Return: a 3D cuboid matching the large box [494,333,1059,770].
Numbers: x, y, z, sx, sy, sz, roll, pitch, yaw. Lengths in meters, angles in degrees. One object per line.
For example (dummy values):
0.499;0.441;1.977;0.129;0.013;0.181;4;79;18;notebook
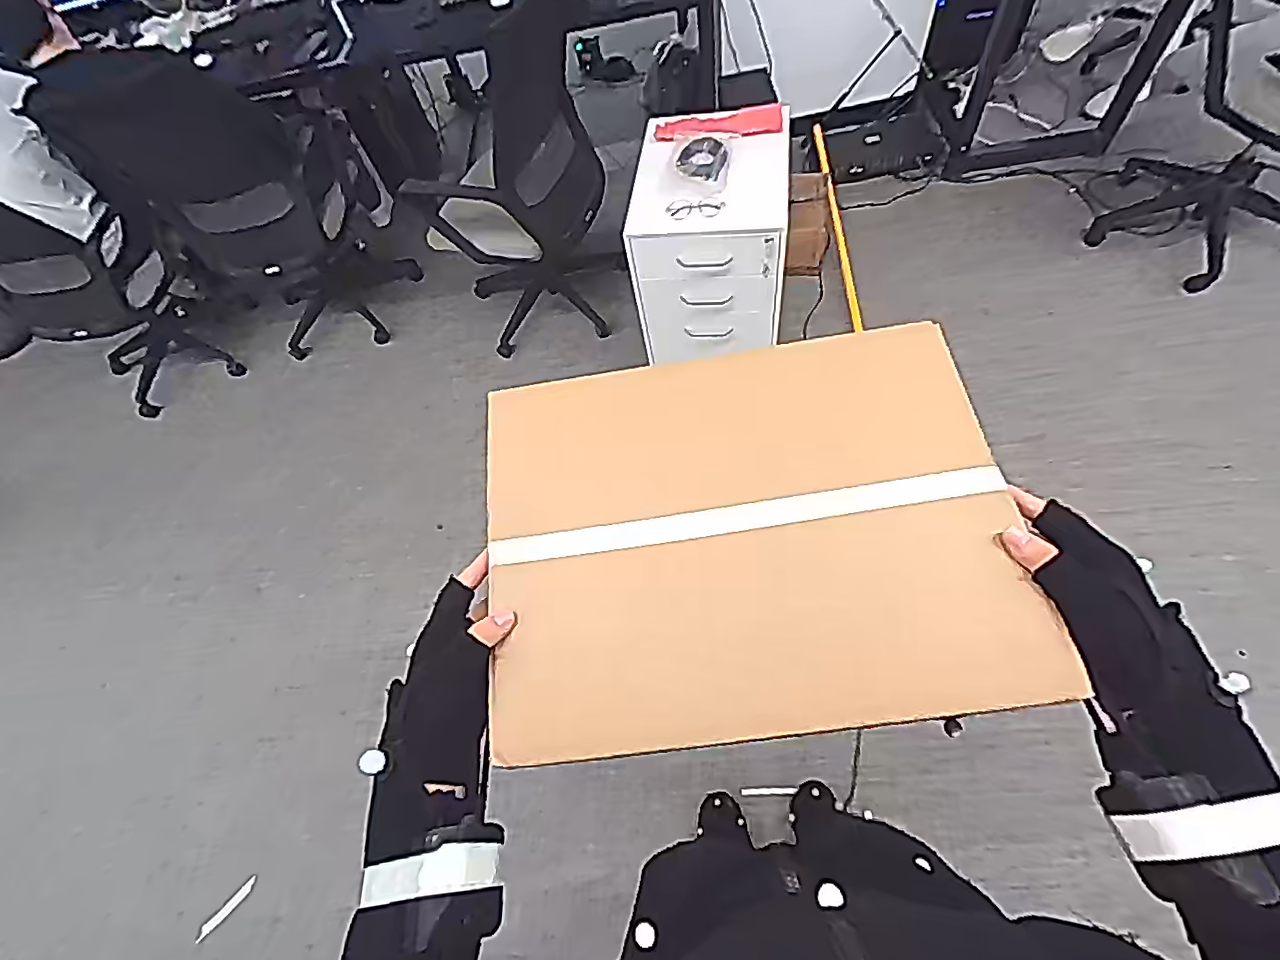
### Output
0.096;0.094;0.576;0.408;0.320;0.320;-9;66;4;large box
